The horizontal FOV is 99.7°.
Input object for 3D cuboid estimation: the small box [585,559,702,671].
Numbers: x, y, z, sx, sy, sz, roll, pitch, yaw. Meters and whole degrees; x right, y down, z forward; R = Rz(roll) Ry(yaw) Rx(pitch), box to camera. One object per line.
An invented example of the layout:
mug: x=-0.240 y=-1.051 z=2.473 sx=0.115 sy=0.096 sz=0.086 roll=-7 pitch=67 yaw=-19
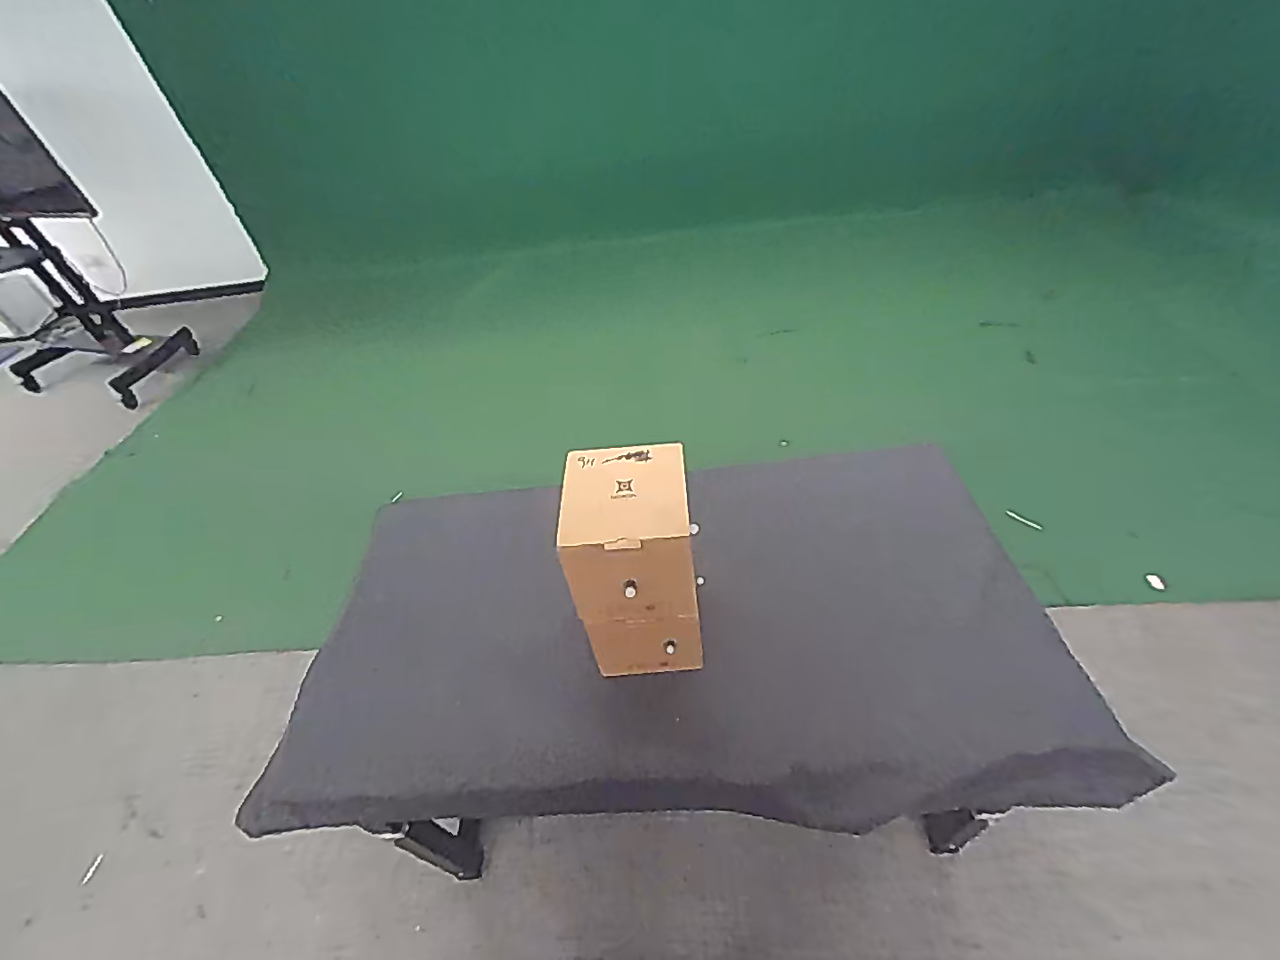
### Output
small box: x=0.009 y=0.195 z=0.877 sx=0.168 sy=0.176 sz=0.179 roll=-5 pitch=44 yaw=2

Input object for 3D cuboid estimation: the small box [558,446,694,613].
small box: x=-0.012 y=0.076 z=0.766 sx=0.168 sy=0.176 sz=0.179 roll=-4 pitch=46 yaw=3
